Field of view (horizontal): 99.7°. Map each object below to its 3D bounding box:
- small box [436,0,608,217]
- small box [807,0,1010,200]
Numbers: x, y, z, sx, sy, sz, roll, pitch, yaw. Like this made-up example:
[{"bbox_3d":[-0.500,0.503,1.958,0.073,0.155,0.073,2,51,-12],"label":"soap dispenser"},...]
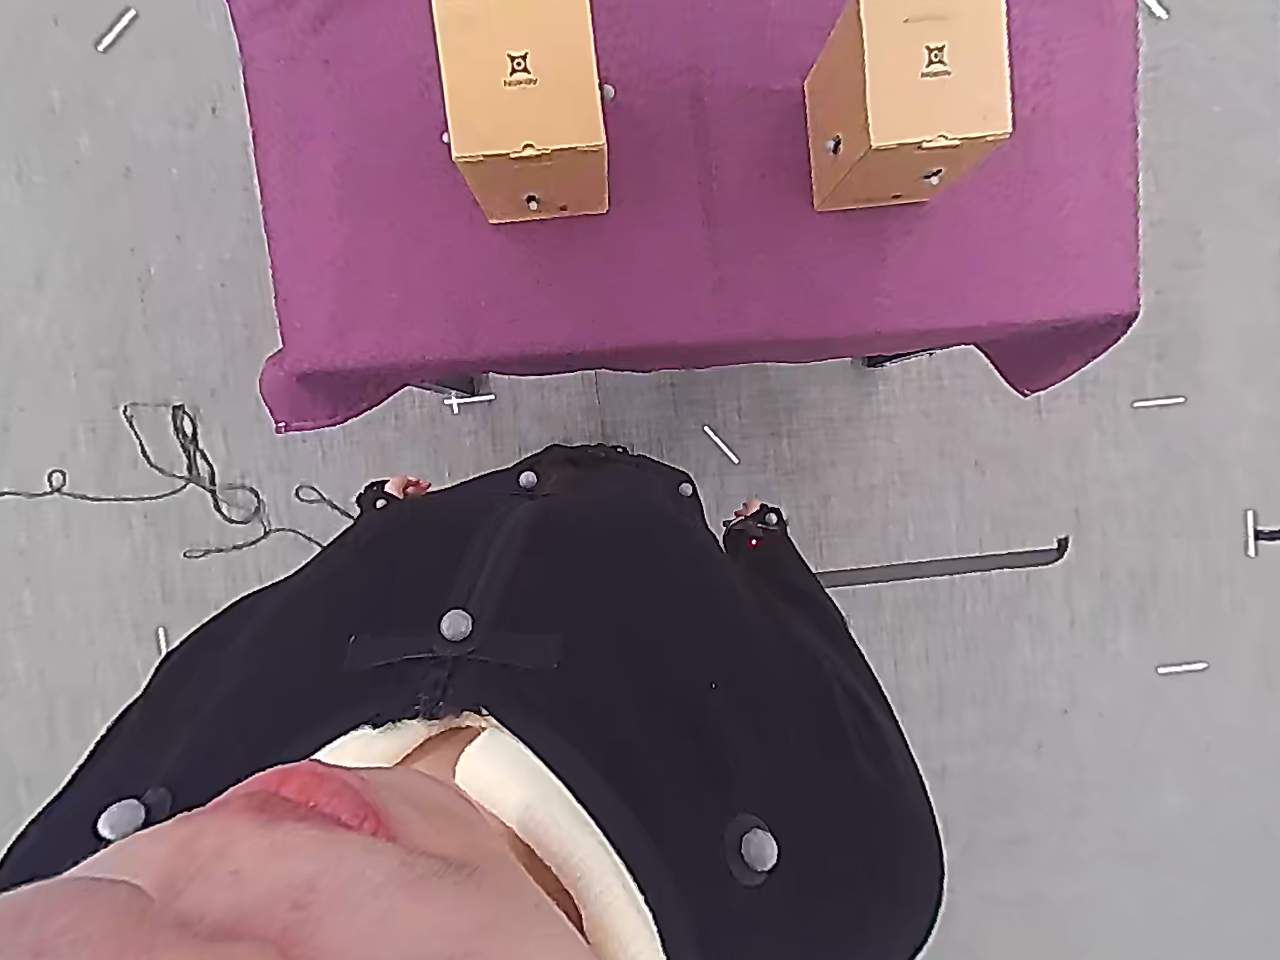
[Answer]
[{"bbox_3d":[-0.130,-0.445,0.651,0.168,0.176,0.179,-7,96,-2],"label":"small box"},{"bbox_3d":[0.318,-0.467,0.669,0.168,0.176,0.179,-6,94,-2],"label":"small box"}]
